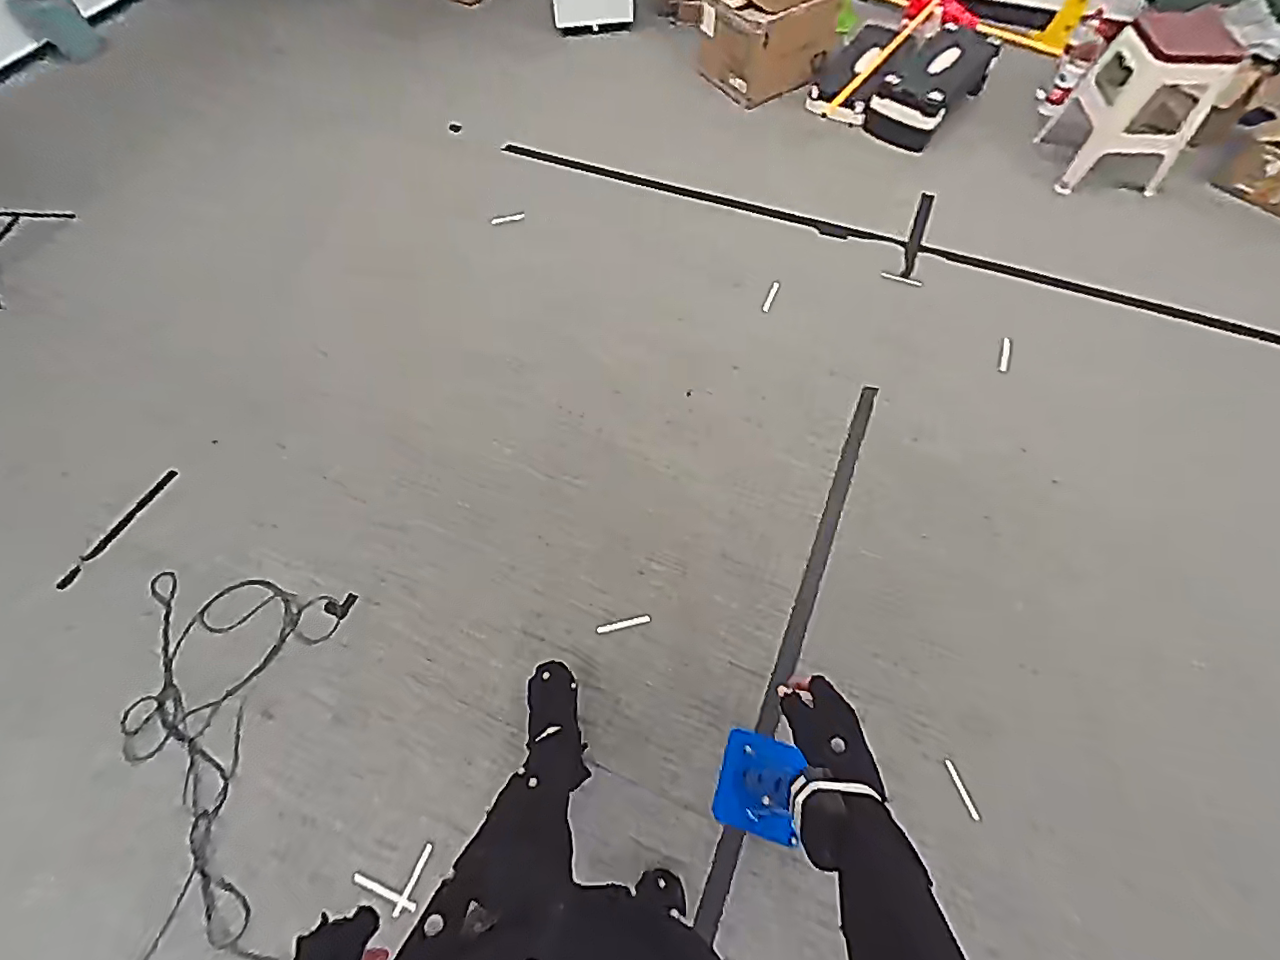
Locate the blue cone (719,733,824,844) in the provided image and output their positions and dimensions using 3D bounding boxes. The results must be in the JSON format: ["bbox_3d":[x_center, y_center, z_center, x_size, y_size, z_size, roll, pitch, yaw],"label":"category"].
[{"bbox_3d":[0.285,0.621,1.084,0.192,0.380,0.193,18,64,9],"label":"blue cone"}]
